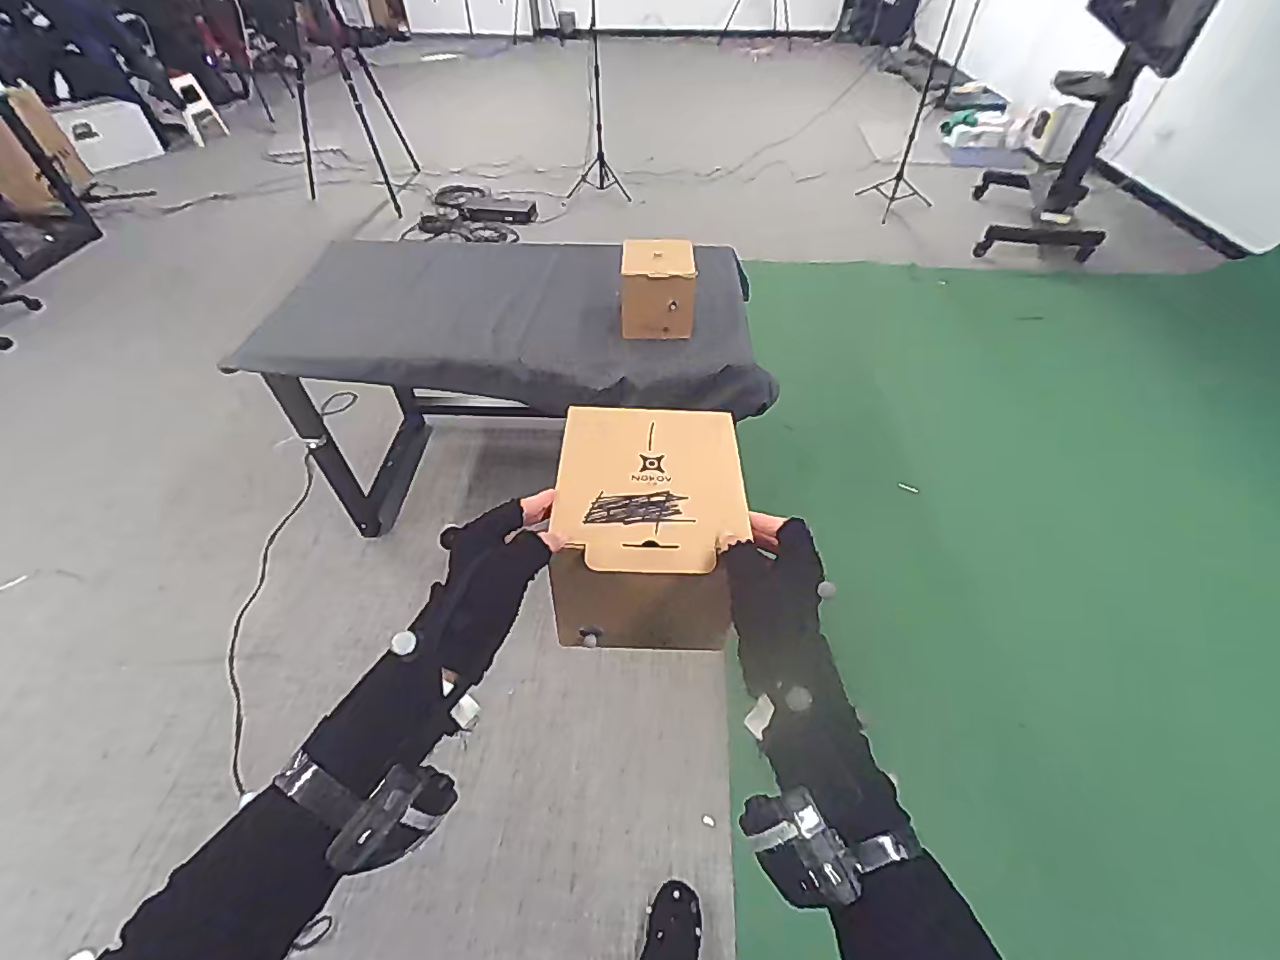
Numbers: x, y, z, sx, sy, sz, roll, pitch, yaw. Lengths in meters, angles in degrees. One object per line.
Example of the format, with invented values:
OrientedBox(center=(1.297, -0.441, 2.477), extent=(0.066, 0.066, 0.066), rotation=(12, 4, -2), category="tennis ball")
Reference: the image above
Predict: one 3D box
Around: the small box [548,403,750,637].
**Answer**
OrientedBox(center=(0.008, 0.042, 0.543), extent=(0.168, 0.176, 0.179), rotation=(2, 45, -1), category="small box")

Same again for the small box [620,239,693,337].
OrientedBox(center=(0.038, -0.459, 1.298), extent=(0.168, 0.176, 0.179), rotation=(0, 46, -1), category="small box")
